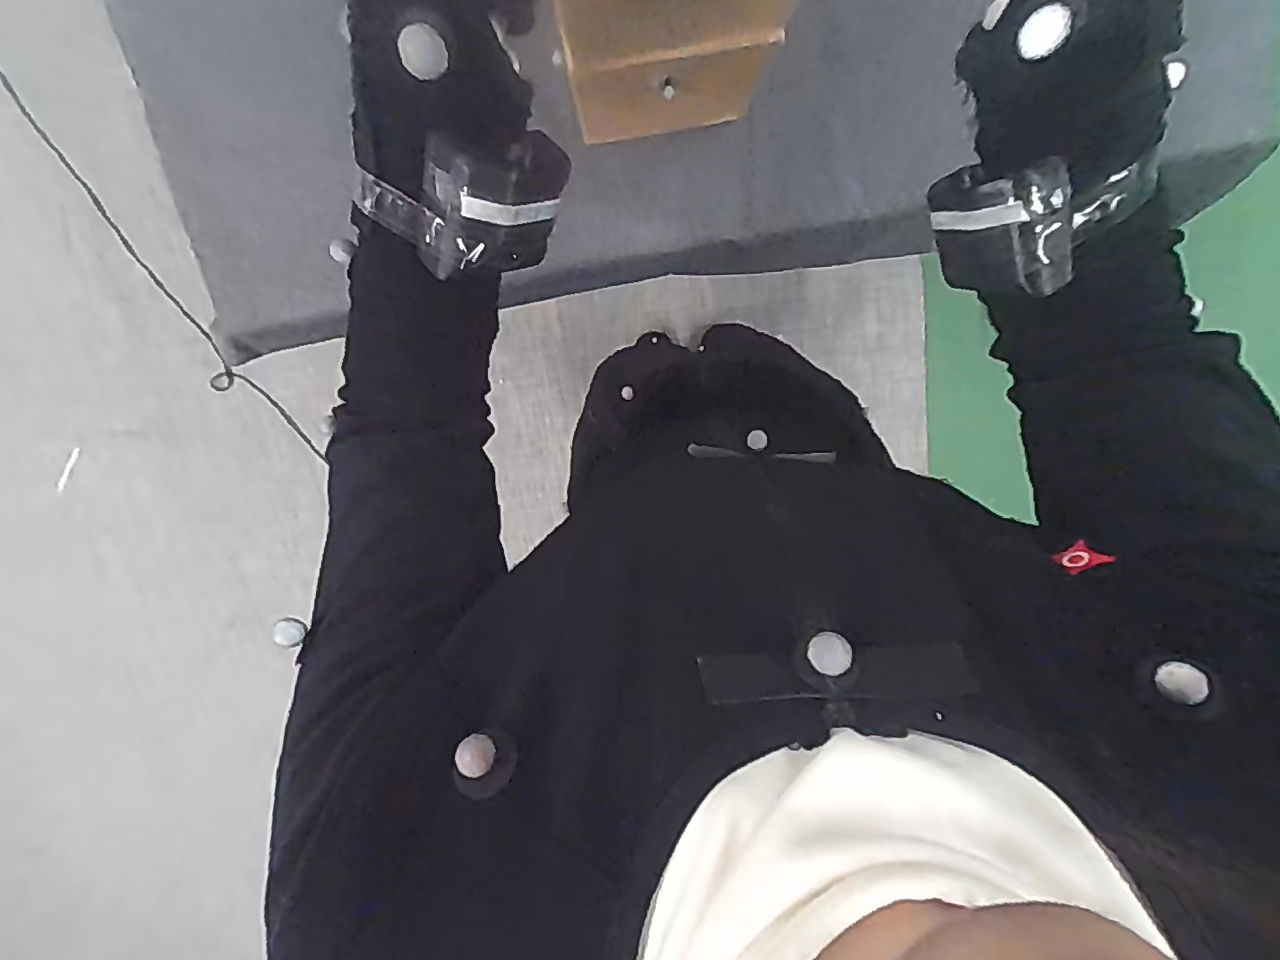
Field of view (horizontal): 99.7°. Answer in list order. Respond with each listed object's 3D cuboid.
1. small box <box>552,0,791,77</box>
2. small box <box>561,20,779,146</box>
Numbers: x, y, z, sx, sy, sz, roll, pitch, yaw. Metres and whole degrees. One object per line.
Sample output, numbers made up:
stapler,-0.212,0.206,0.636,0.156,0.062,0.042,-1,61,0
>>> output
small box,0.017,-0.394,0.339,0.179,0.176,0.168,-10,105,3
small box,0.014,-0.433,0.498,0.179,0.176,0.168,-10,106,0
